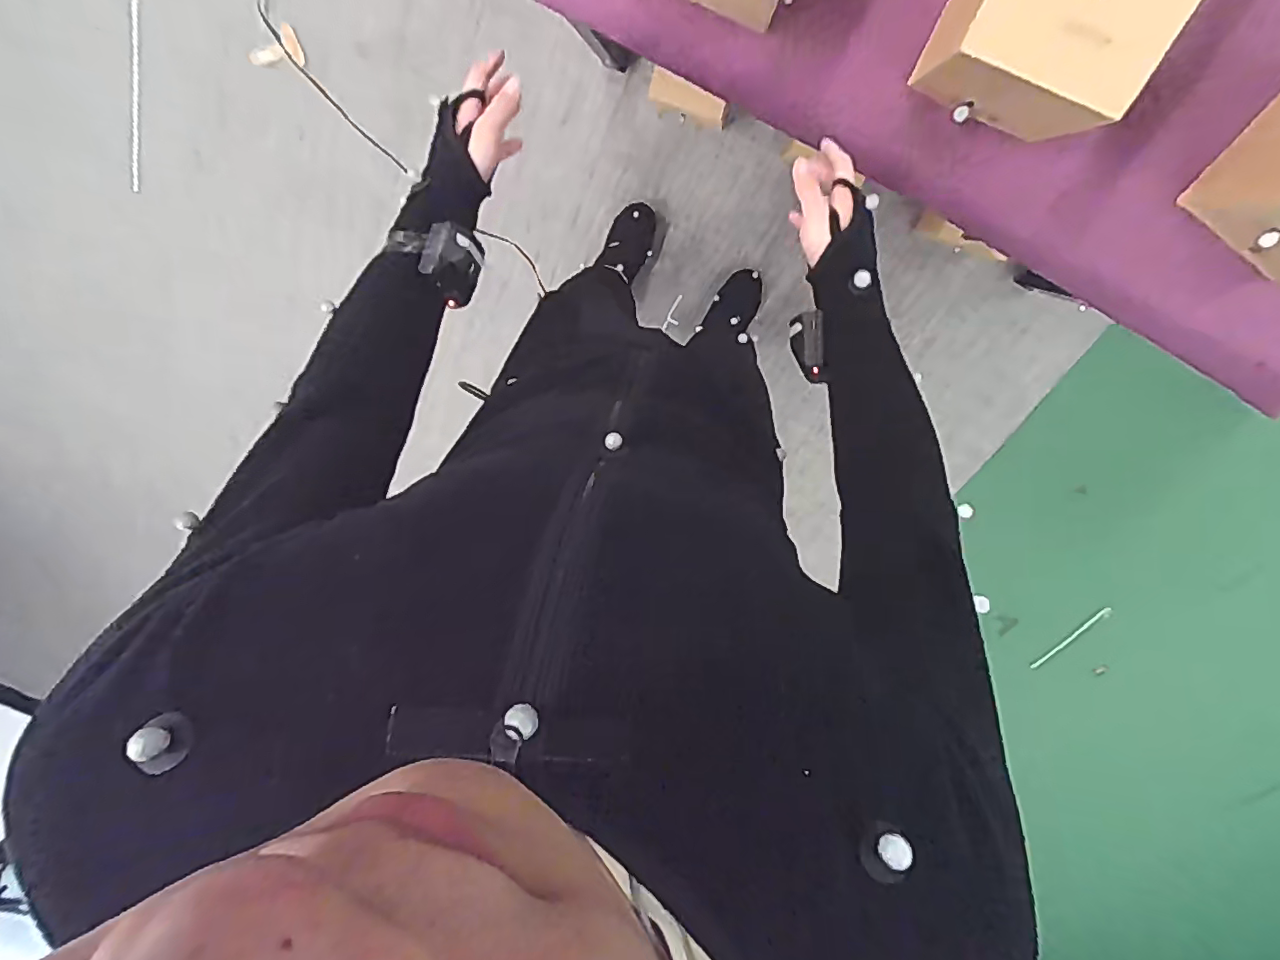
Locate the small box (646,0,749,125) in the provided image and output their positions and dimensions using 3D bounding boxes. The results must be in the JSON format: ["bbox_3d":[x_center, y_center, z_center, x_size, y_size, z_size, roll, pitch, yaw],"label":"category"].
[{"bbox_3d":[0.125,-0.891,1.161,0.168,0.176,0.179,18,117,-1],"label":"small box"}]

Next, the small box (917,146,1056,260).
[{"bbox_3d":[0.757,-0.614,1.207,0.168,0.176,0.179,20,117,-2],"label":"small box"}]

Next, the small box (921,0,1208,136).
[{"bbox_3d":[0.406,-0.463,0.516,0.168,0.176,0.179,23,117,-2],"label":"small box"}]

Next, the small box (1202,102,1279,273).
[{"bbox_3d":[0.740,-0.317,0.540,0.168,0.176,0.179,32,115,-7],"label":"small box"}]

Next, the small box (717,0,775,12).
[{"bbox_3d":[0.088,-0.581,0.502,0.179,0.176,0.168,22,117,-3],"label":"small box"}]
